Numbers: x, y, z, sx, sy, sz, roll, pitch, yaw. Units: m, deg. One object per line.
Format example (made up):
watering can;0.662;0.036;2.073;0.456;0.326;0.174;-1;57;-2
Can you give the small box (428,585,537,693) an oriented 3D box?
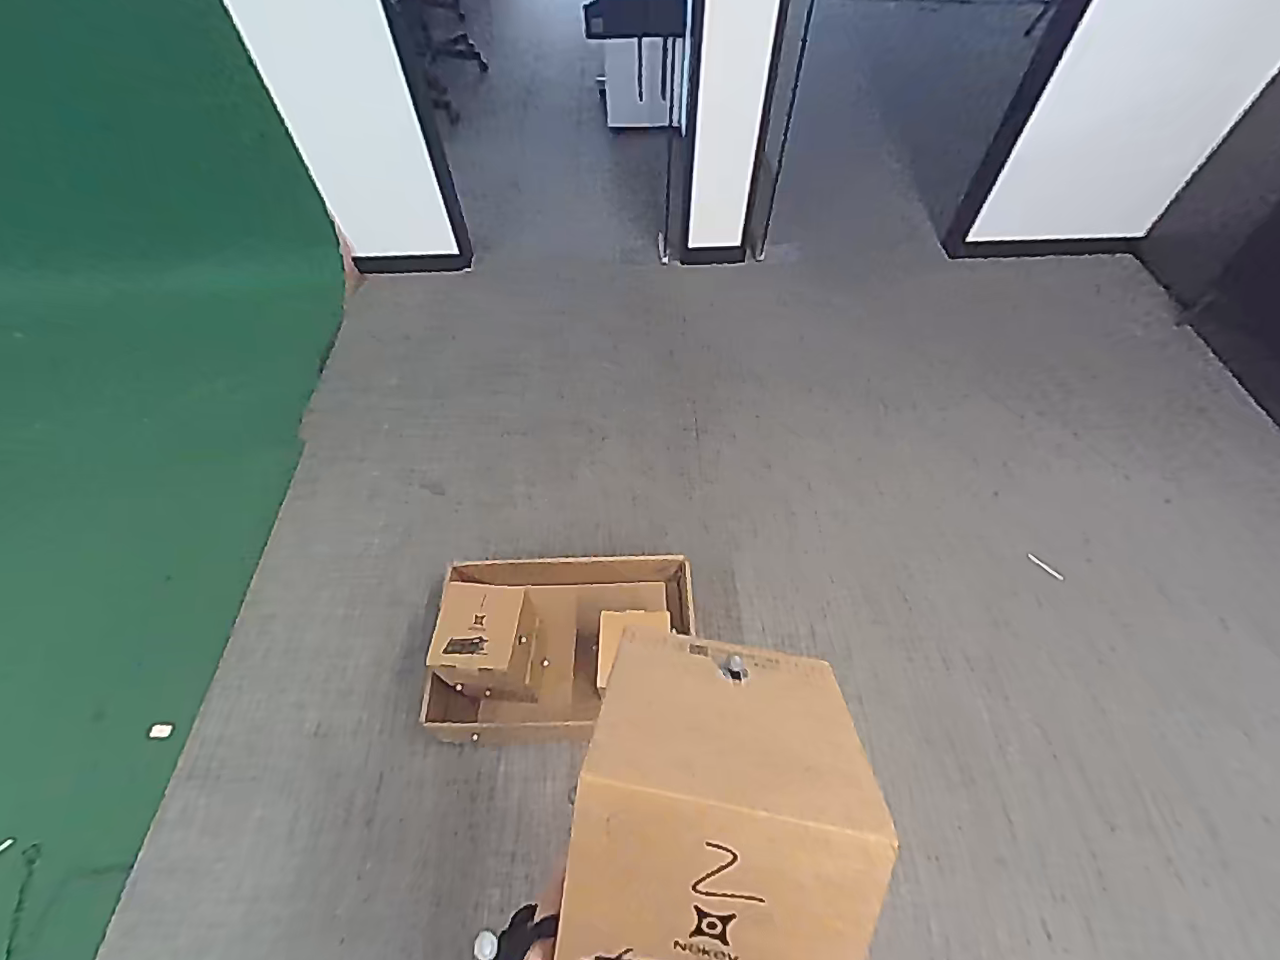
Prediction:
small box;-0.325;0.346;1.160;0.168;0.176;0.179;4;55;3
